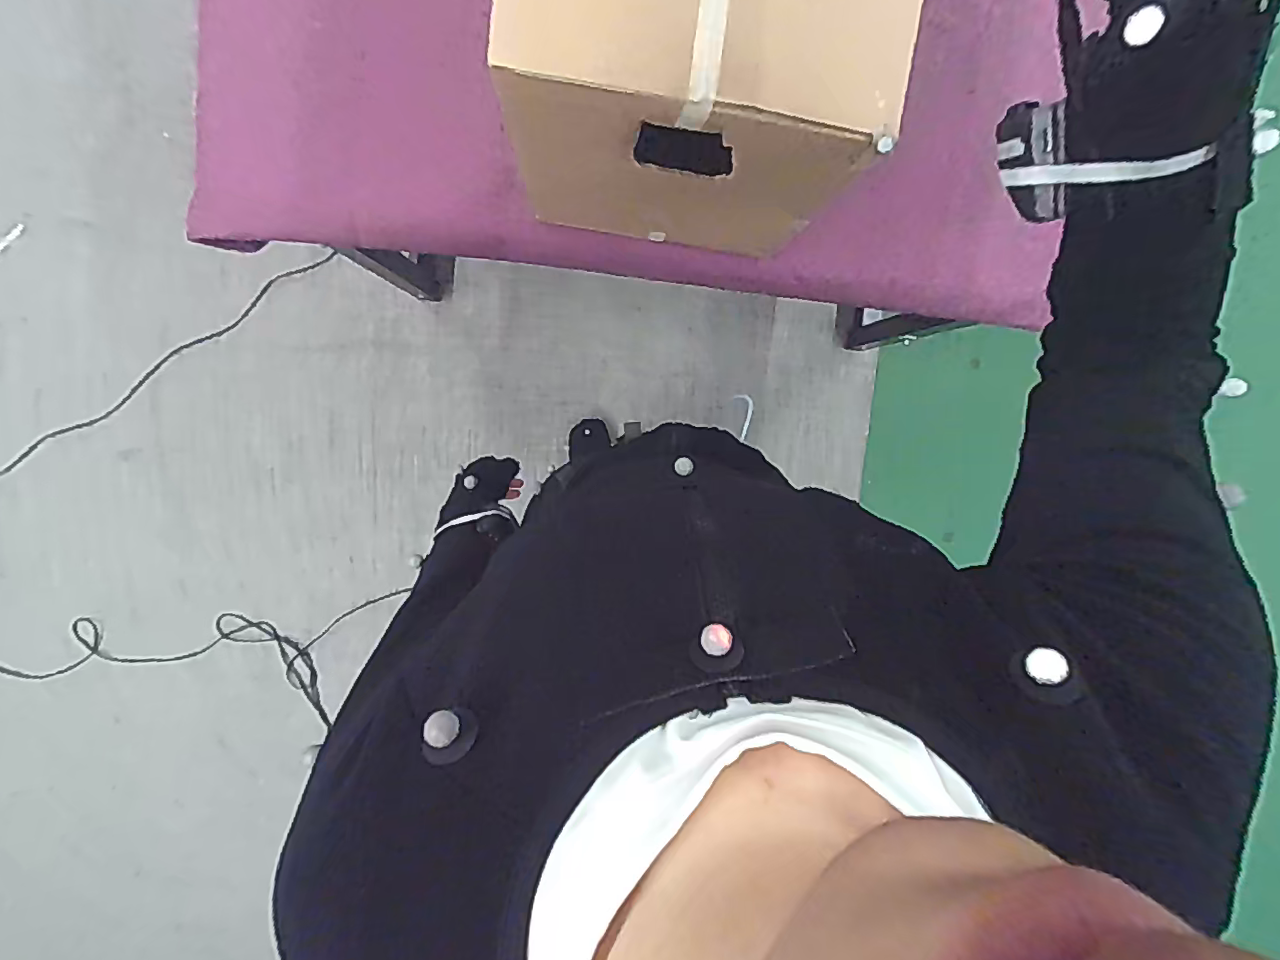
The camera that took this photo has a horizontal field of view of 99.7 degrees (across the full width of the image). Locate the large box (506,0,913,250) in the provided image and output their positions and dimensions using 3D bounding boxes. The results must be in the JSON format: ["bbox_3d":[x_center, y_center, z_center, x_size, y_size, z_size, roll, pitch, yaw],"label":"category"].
[{"bbox_3d":[0.061,-0.501,0.544,0.320,0.320,0.408,8,97,-5],"label":"large box"}]
